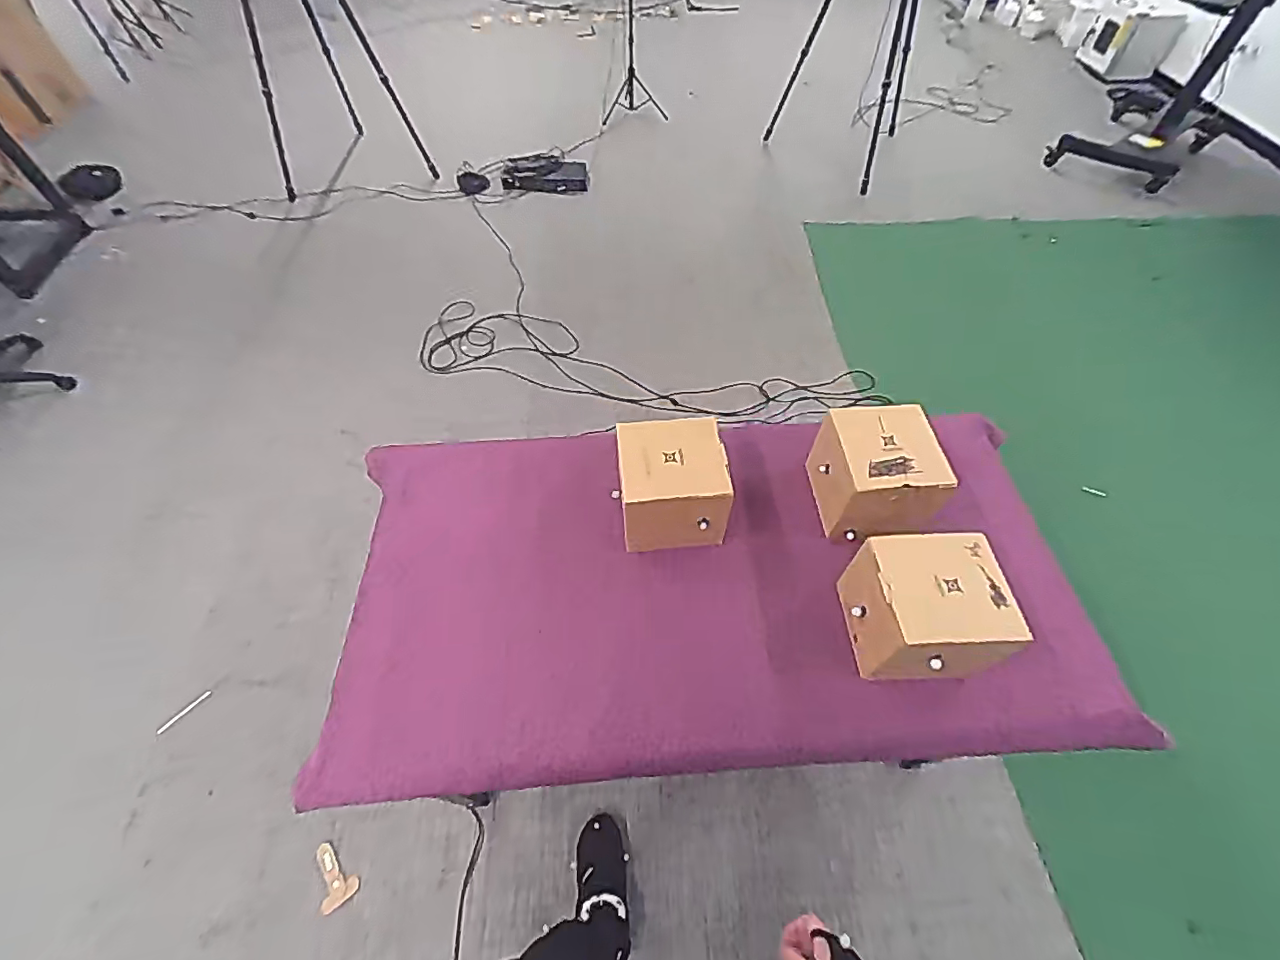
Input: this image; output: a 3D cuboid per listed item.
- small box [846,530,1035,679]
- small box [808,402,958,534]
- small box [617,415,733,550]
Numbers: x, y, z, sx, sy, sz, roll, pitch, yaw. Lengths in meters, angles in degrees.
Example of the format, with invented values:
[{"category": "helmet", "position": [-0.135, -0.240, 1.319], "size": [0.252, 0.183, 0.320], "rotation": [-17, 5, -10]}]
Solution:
[{"category": "small box", "position": [0.423, 0.190, 0.804], "size": [0.179, 0.176, 0.168], "rotation": [-2, 54, 0]}, {"category": "small box", "position": [0.411, -0.014, 0.949], "size": [0.168, 0.176, 0.179], "rotation": [-3, 54, -1]}, {"category": "small box", "position": [0.053, 0.008, 0.939], "size": [0.179, 0.176, 0.168], "rotation": [-5, 55, -2]}]
